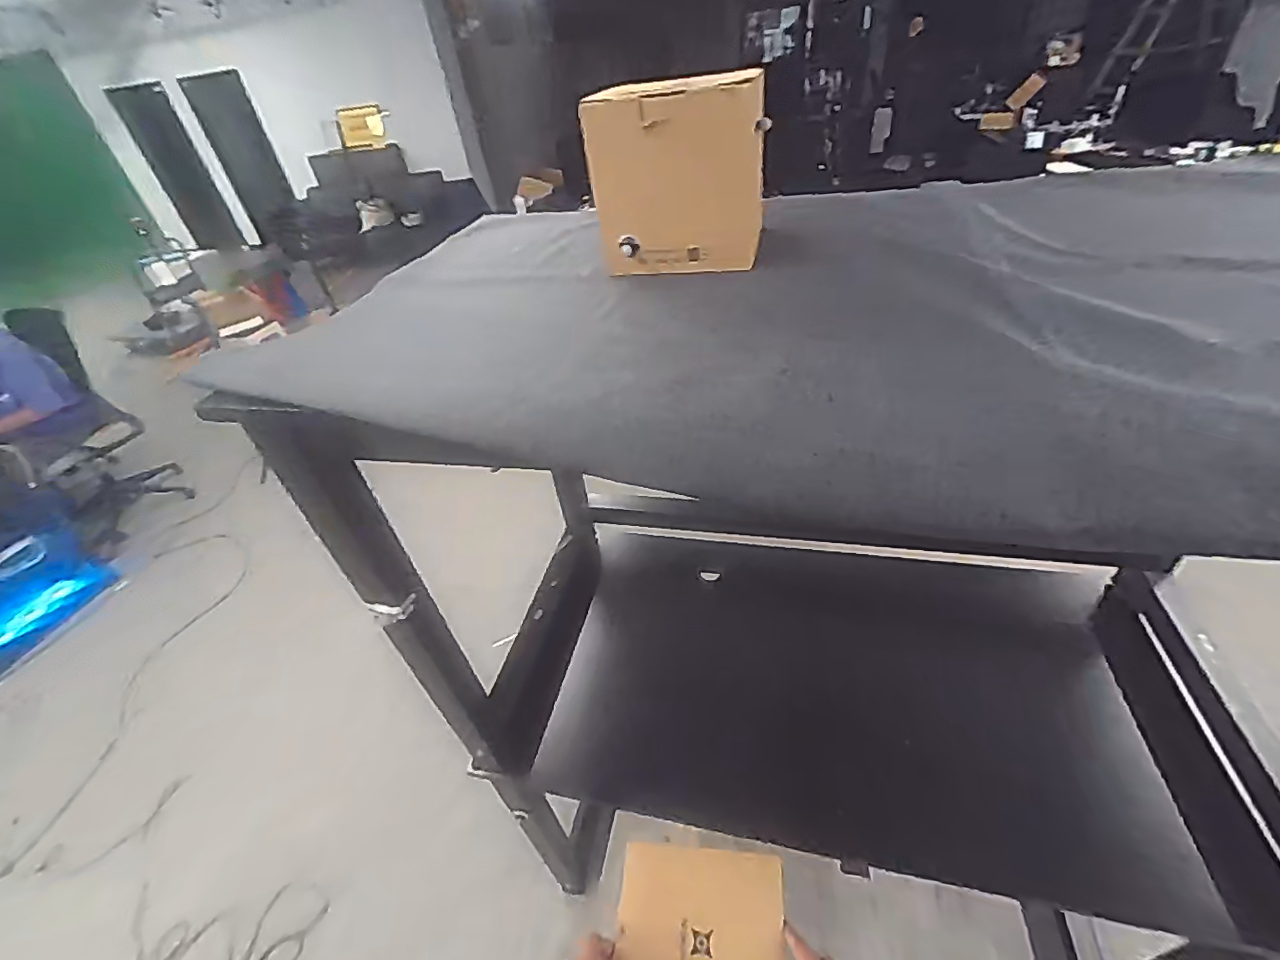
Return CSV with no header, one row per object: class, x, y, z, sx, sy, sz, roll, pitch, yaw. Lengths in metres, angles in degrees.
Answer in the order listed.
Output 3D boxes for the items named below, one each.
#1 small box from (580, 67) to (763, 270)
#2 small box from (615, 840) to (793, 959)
small box,0.049,-0.344,0.610,0.168,0.176,0.179,3,39,15
small box,0.077,0.521,0.592,0.179,0.176,0.168,-3,41,13
